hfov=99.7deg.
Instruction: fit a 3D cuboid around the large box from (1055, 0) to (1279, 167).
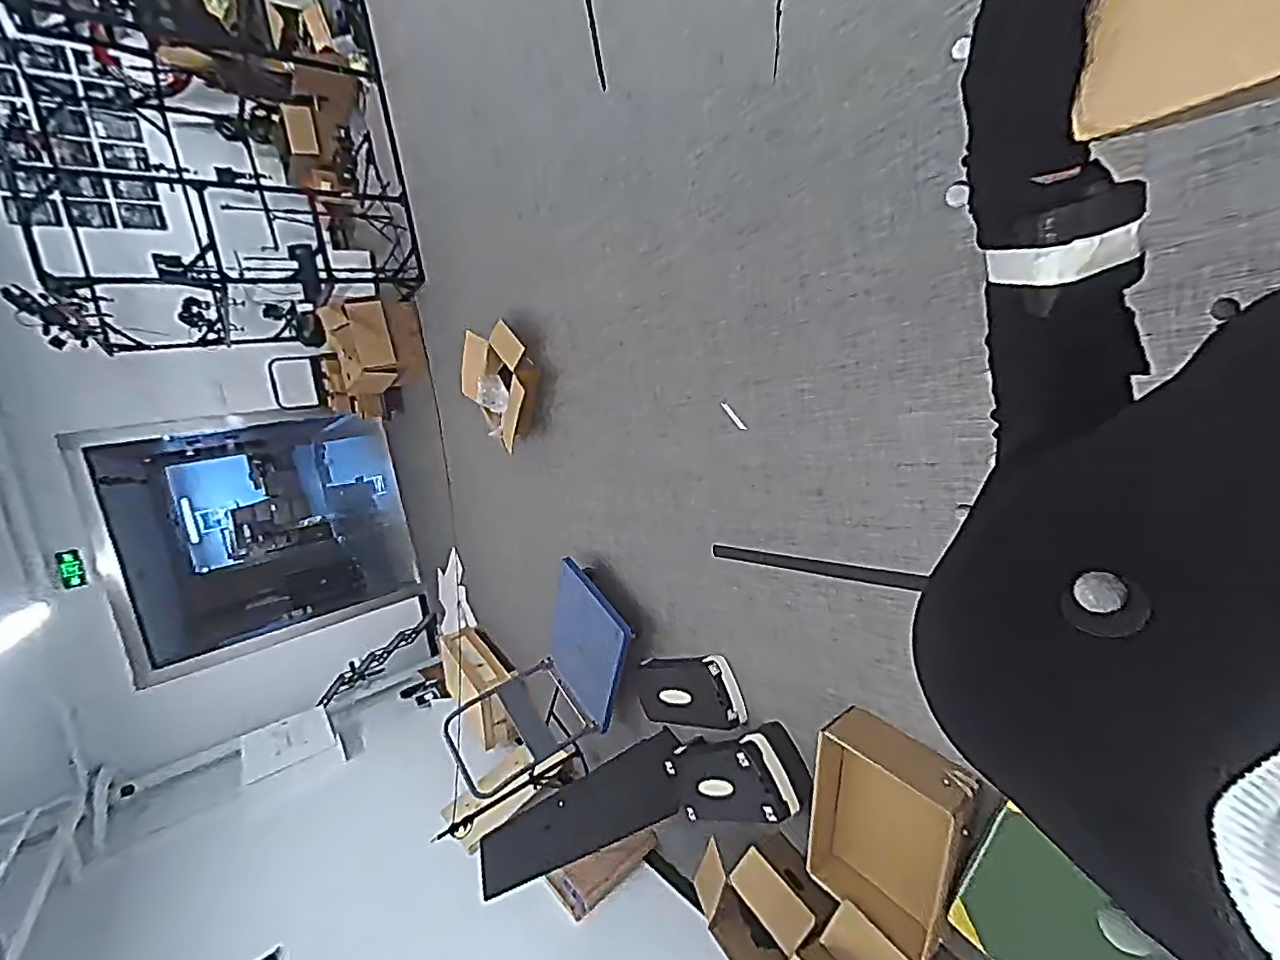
[{"bbox_3d":[0.434,-0.371,0.193,0.408,0.320,0.320,5,117,53],"label":"large box"}]
